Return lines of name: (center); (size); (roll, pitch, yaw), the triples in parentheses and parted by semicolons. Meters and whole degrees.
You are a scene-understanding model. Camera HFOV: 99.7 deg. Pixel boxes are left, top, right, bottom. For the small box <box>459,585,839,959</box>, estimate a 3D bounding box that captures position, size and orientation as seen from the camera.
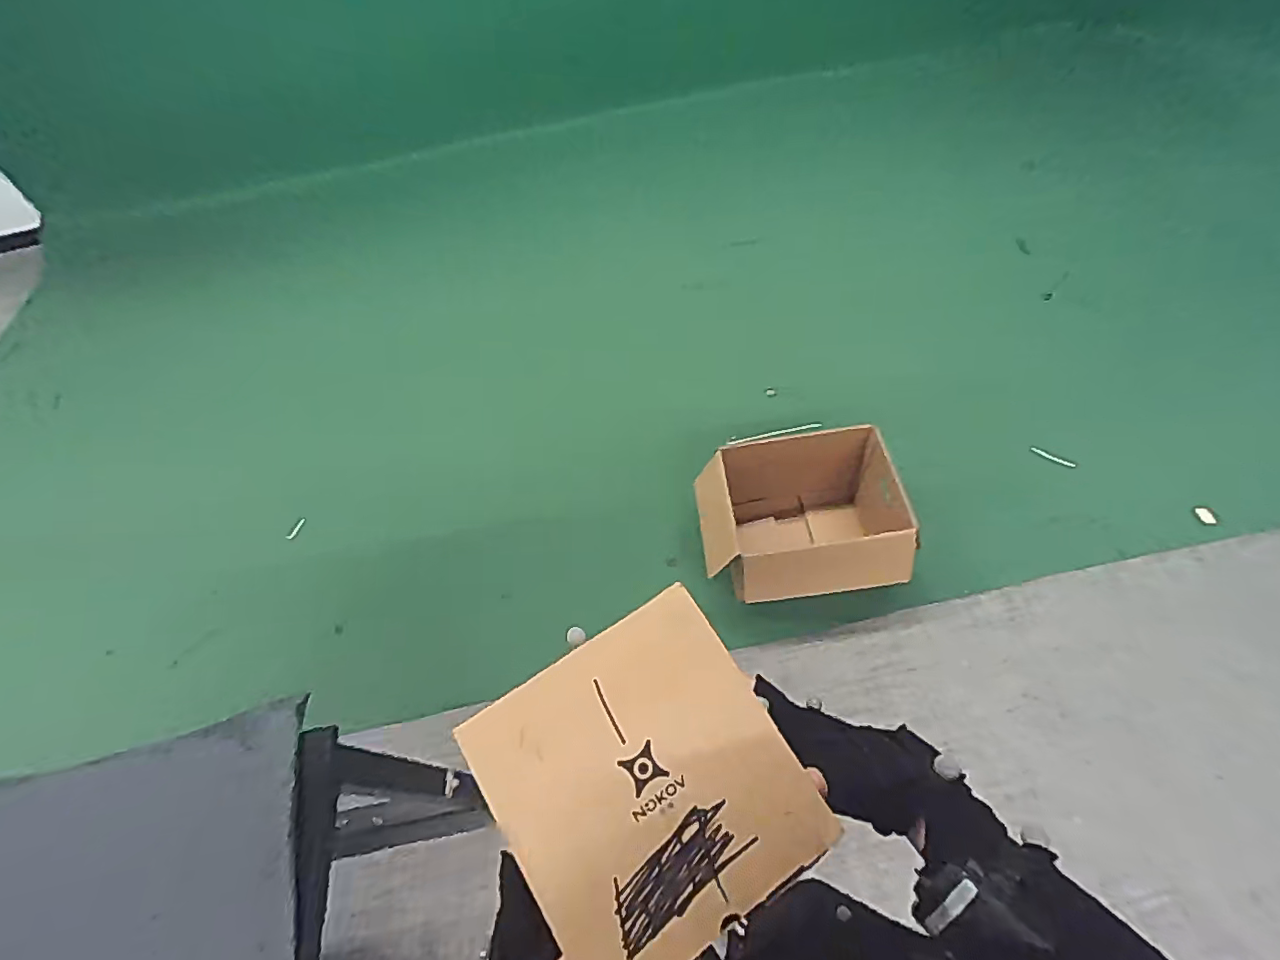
small box: (-0.001, 0.199, 0.391); (0.168, 0.176, 0.179); (-29, 76, -14)
